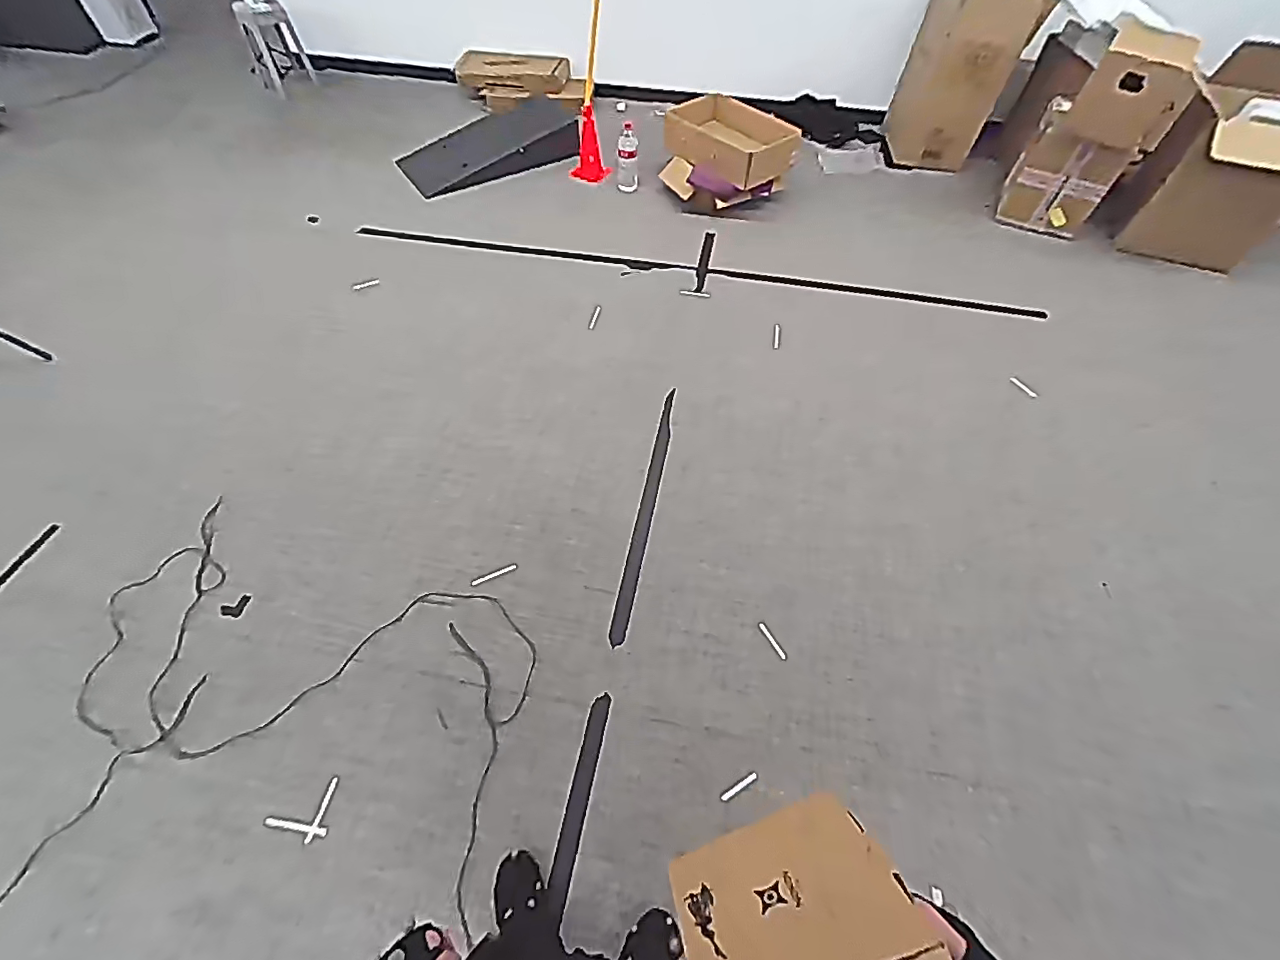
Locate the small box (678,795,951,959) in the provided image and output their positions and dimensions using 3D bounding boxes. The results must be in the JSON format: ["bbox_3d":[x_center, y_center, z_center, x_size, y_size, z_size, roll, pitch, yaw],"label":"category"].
[{"bbox_3d":[0.150,0.419,0.454,0.179,0.168,0.176,-20,94,-4],"label":"small box"}]
